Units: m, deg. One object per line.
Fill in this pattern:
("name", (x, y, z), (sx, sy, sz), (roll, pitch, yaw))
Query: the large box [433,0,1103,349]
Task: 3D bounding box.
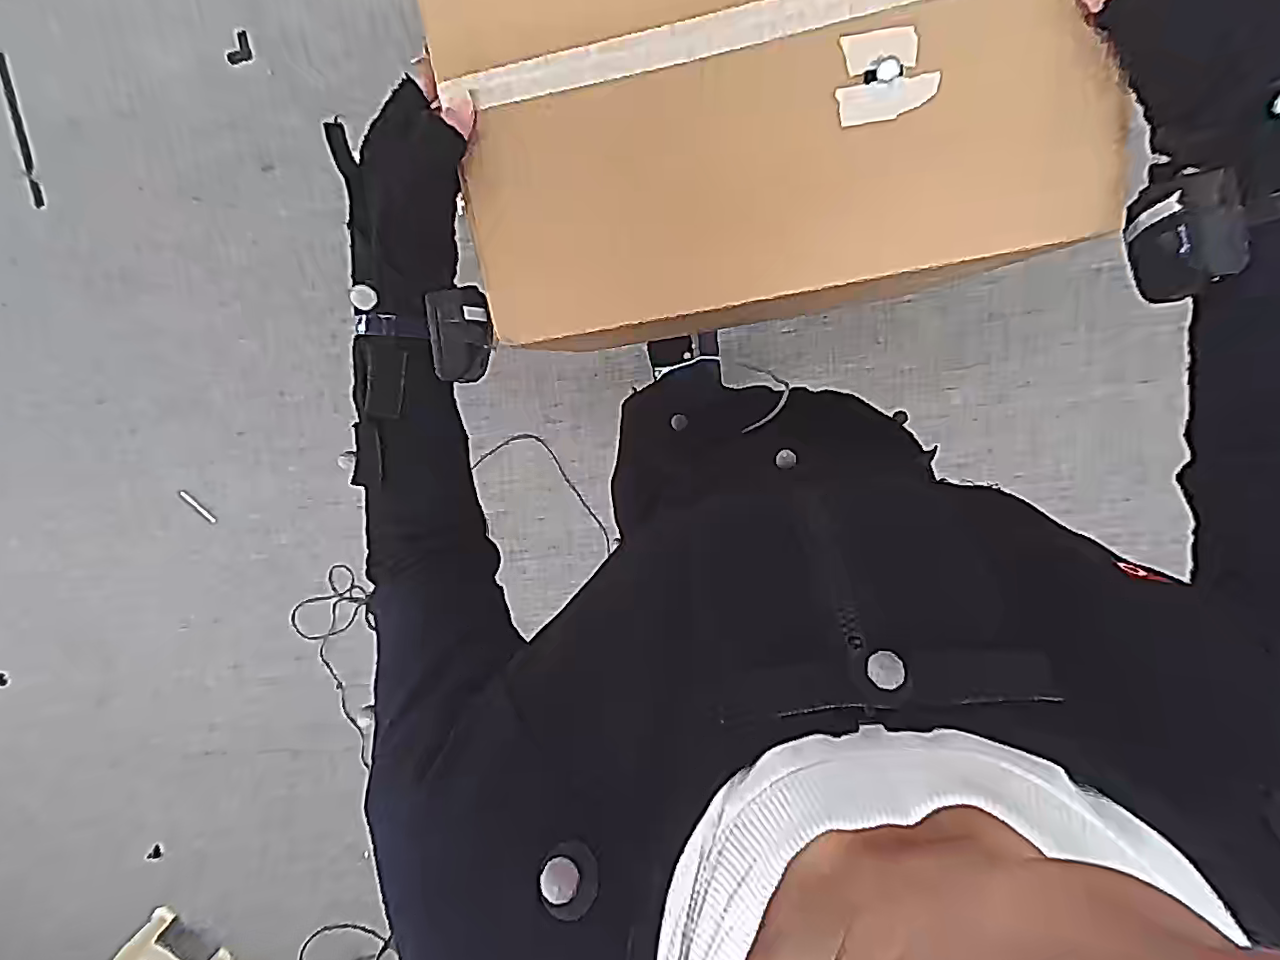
("large box", (0.081, -0.313, 0.481), (0.408, 0.320, 0.320), (-9, 102, 6))
